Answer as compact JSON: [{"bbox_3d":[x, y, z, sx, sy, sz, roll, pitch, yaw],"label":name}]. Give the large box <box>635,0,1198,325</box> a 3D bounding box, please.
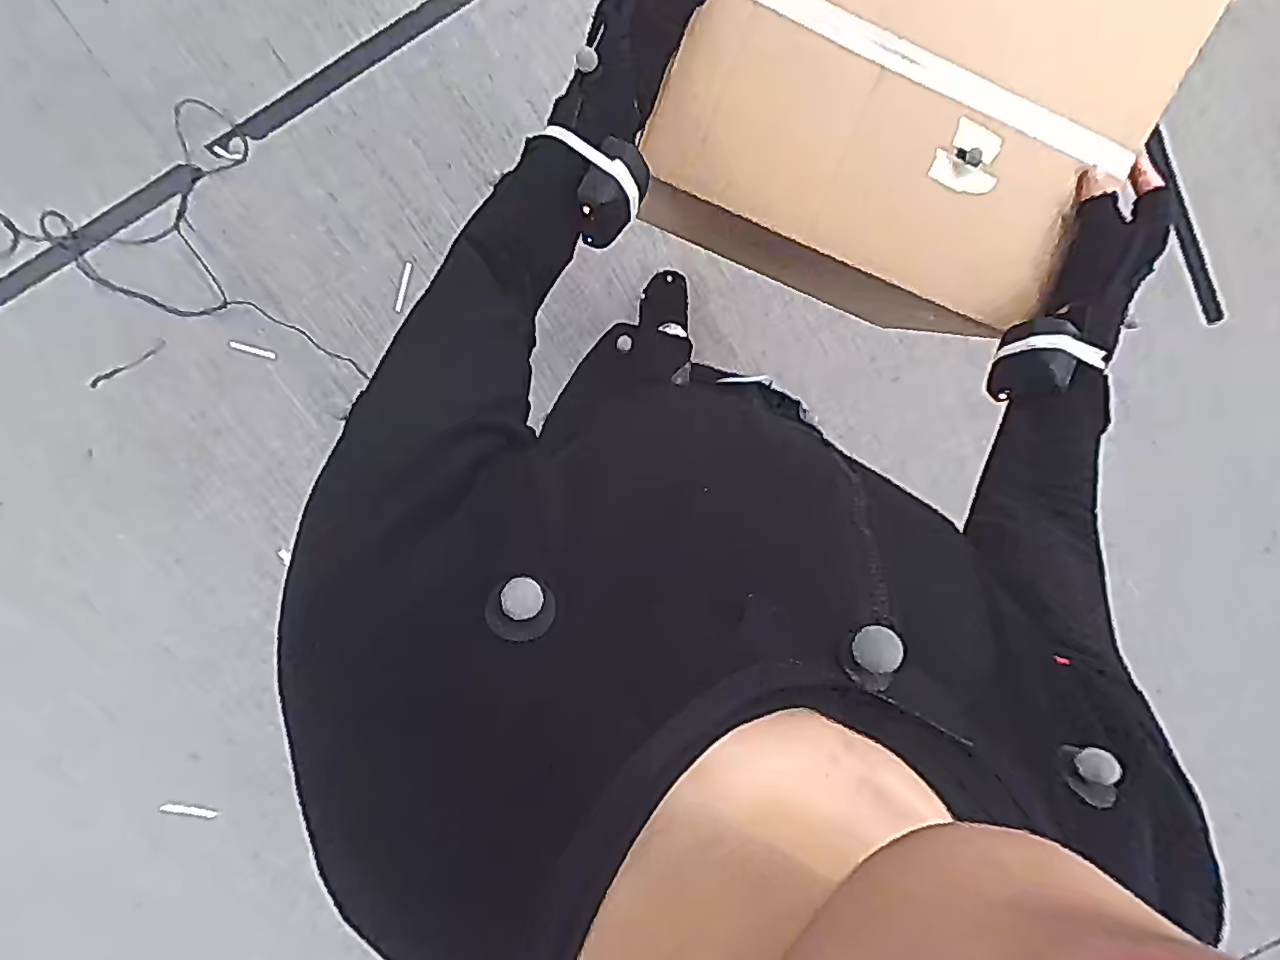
[{"bbox_3d":[0.231,-0.399,0.606,0.408,0.320,0.320,20,108,-8],"label":"large box"}]
